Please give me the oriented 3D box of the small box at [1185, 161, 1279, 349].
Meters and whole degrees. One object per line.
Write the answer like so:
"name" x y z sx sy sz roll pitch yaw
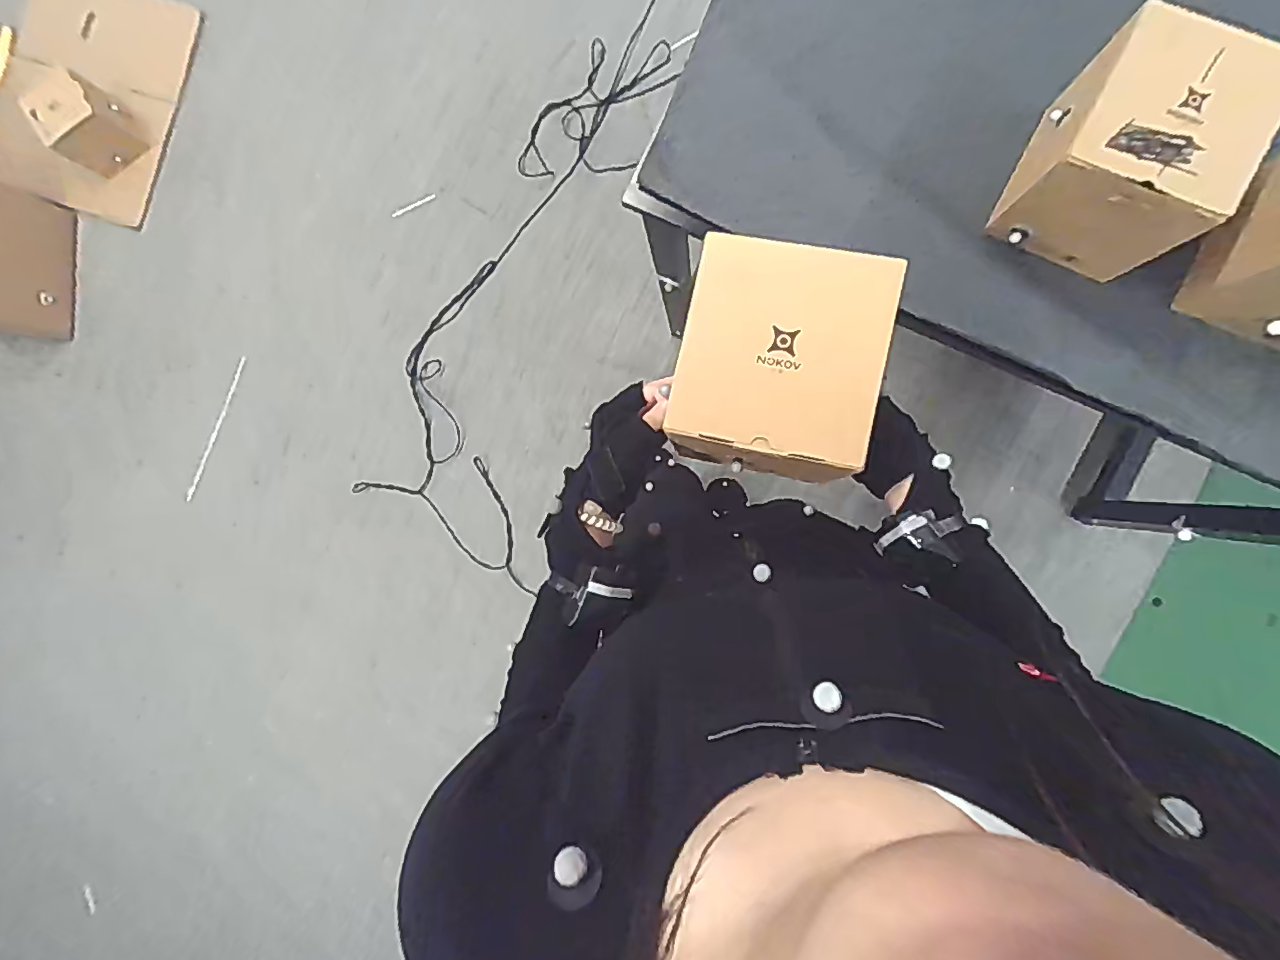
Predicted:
"small box" 0.768 -0.263 0.585 0.168 0.176 0.179 25 92 7

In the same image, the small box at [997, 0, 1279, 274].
"small box" 0.550 -0.365 0.613 0.168 0.176 0.179 27 92 6

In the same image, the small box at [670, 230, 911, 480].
"small box" 0.131 -0.104 0.518 0.168 0.176 0.179 12 88 9
